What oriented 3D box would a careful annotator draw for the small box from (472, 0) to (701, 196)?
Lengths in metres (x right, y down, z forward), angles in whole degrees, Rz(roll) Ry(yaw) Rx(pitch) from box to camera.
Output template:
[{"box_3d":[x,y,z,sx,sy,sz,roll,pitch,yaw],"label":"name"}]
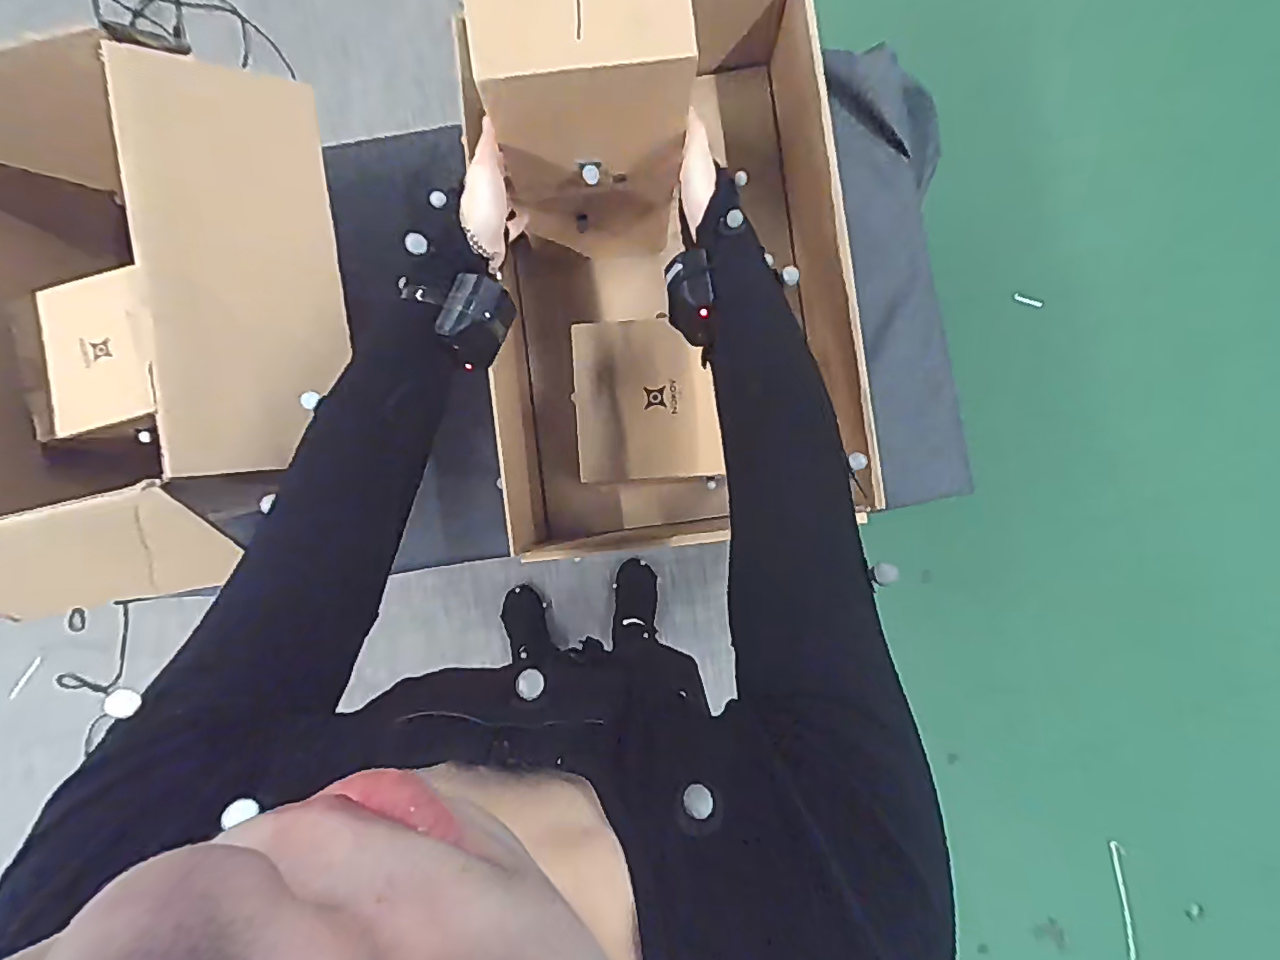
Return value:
[{"box_3d":[-0.046,-0.382,0.473,0.168,0.176,0.179,-6,91,-1],"label":"small box"}]
